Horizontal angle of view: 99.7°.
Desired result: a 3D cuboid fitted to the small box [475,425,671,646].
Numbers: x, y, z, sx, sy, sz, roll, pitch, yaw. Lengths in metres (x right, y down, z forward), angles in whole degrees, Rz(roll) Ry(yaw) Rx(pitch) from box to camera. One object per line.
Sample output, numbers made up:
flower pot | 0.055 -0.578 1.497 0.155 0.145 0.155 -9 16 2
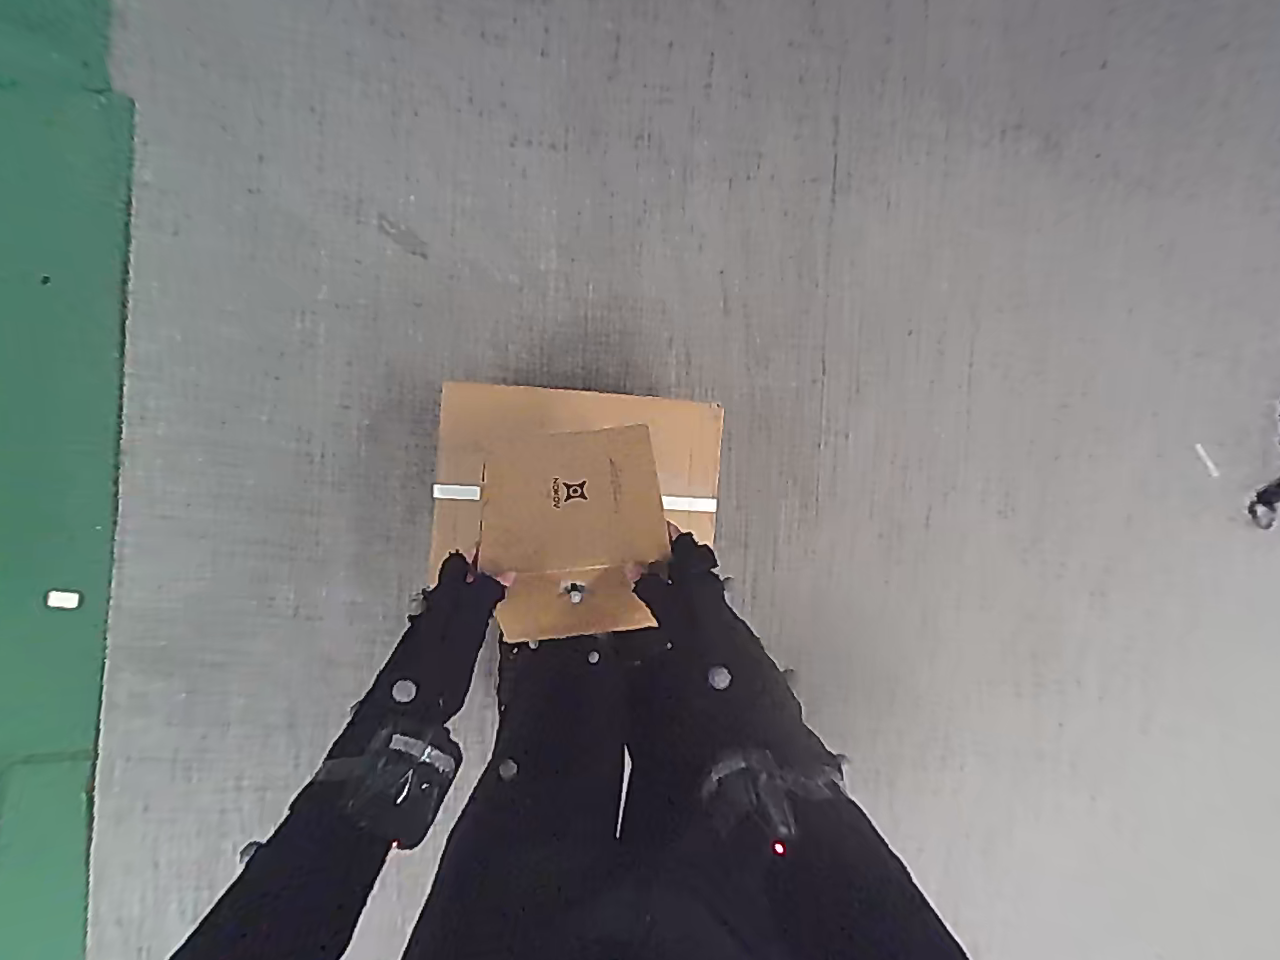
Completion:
small box | -0.067 0.064 0.581 0.179 0.176 0.168 -7 53 -6
